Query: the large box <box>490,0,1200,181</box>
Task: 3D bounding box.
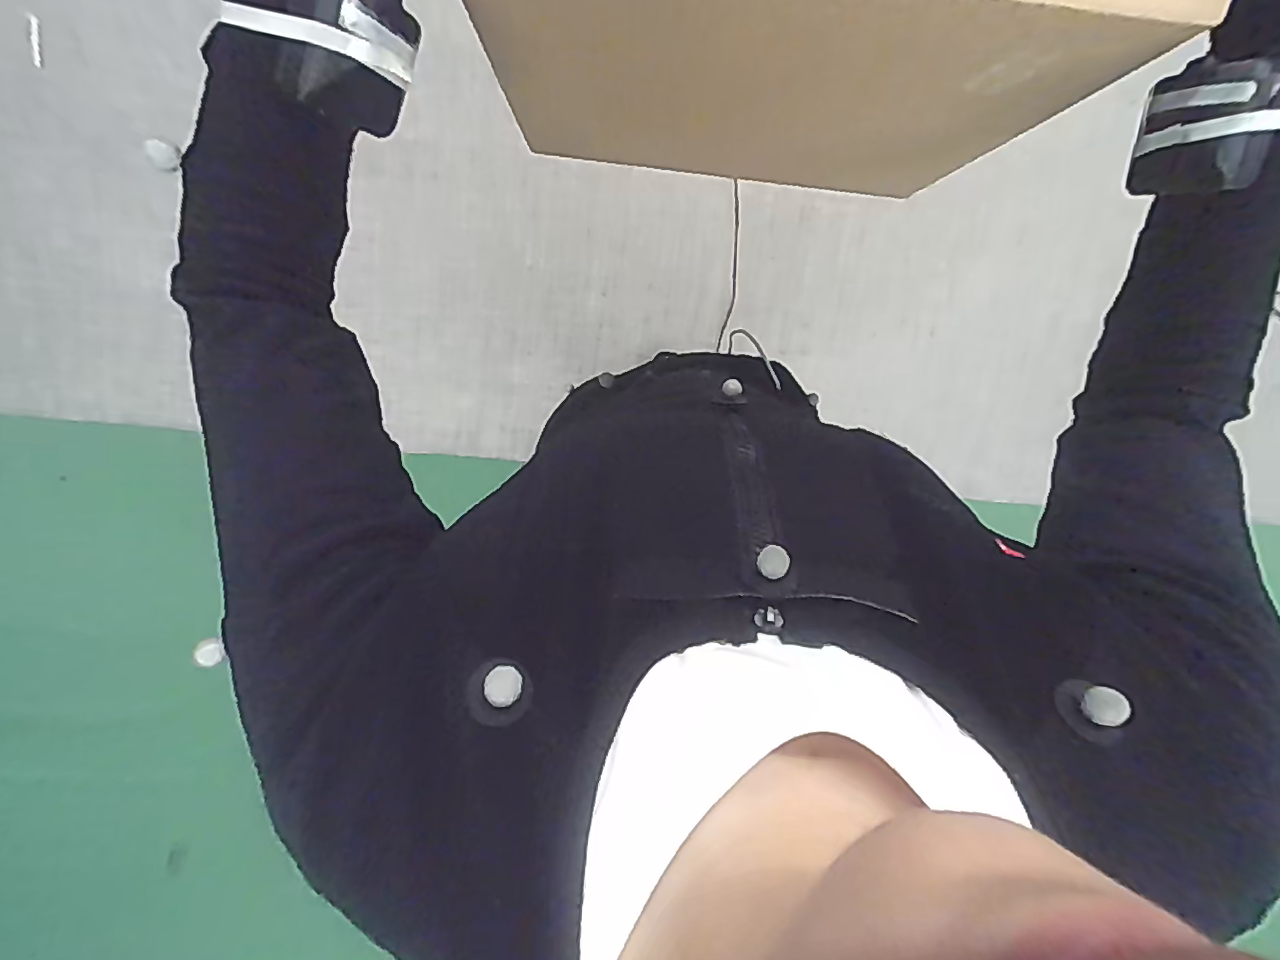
[{"bbox_3d":[0.108,-0.444,0.390,0.408,0.320,0.320,4,103,-4],"label":"large box"}]
